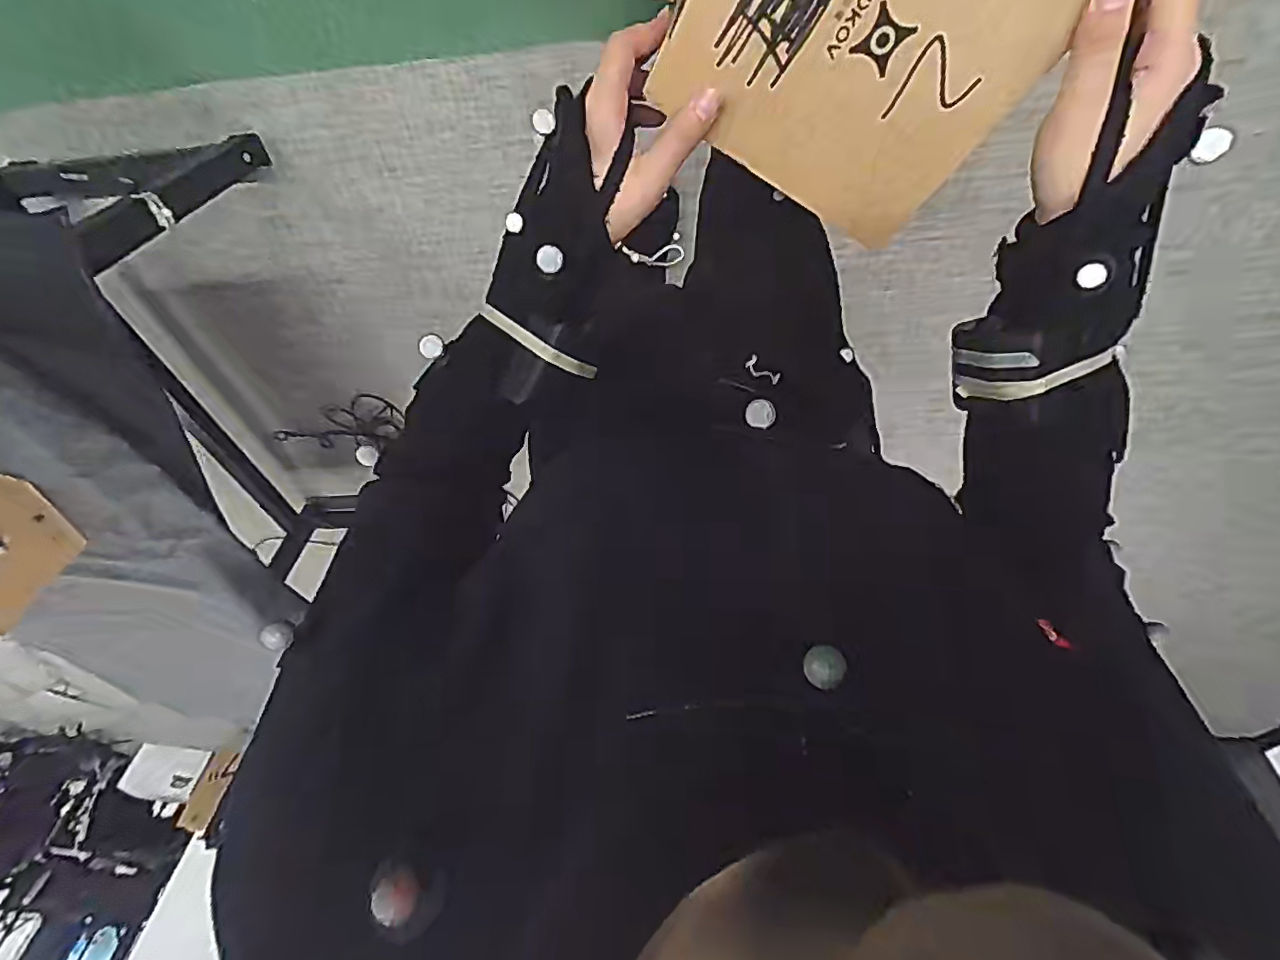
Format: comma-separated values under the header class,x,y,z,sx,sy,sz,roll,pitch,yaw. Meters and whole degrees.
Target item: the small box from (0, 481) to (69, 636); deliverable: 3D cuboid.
class,x,y,z,sx,sy,sz,roll,pitch,yaw
small box,-0.944,0.095,0.725,0.179,0.176,0.168,12,136,-6
